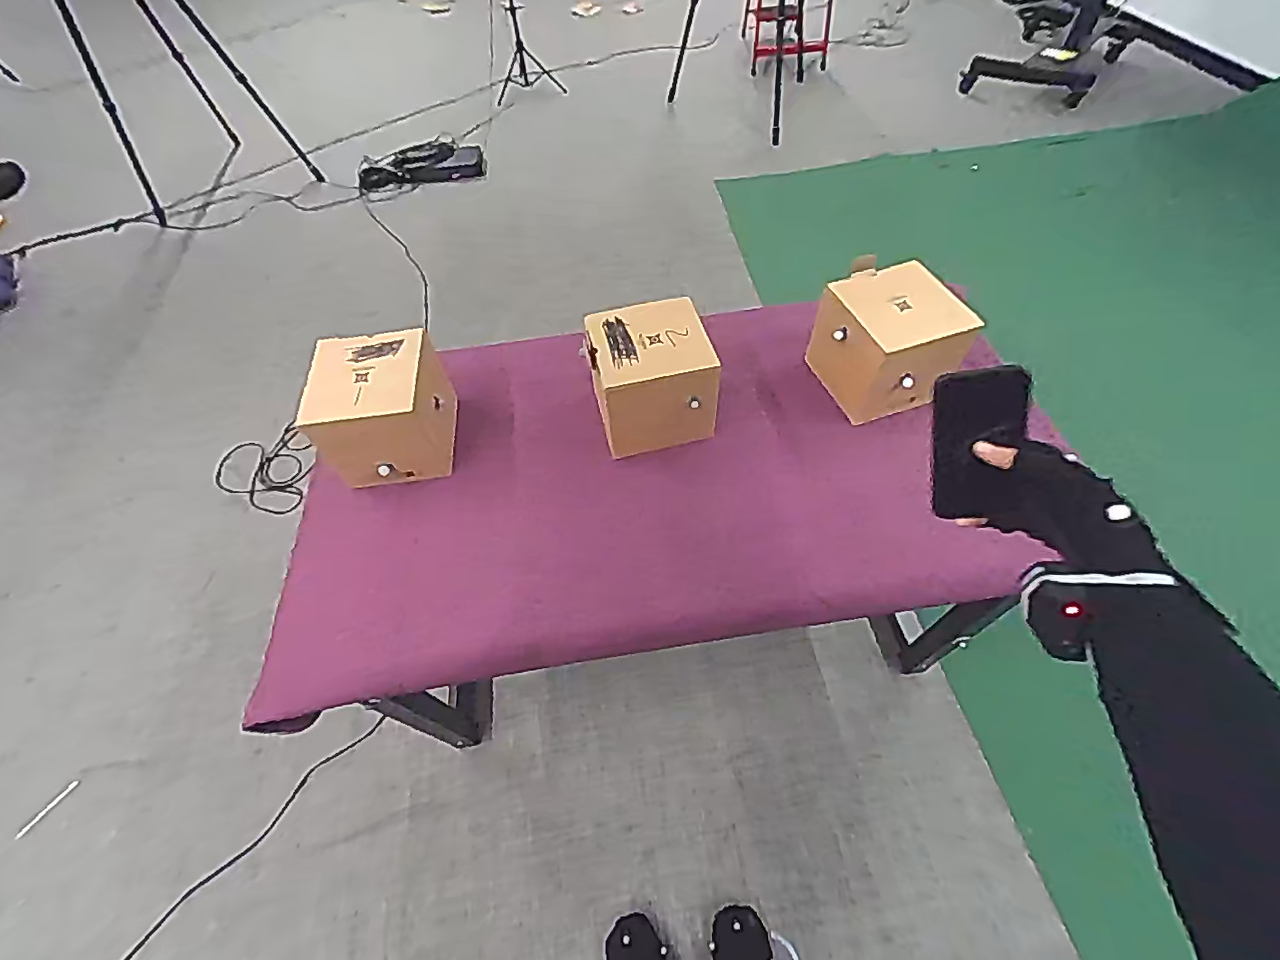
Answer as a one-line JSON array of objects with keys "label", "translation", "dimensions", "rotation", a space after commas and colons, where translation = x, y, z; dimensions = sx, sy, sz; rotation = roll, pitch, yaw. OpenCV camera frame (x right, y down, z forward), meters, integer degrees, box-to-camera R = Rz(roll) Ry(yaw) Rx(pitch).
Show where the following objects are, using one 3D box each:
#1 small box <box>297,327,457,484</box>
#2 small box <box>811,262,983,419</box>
[{"label": "small box", "translation": [-0.401, -0.116, 0.862], "dimensions": [0.168, 0.176, 0.179], "rotation": [-7, 58, -2]}, {"label": "small box", "translation": [0.406, -0.221, 0.891], "dimensions": [0.168, 0.176, 0.179], "rotation": [-17, 56, -7]}]
